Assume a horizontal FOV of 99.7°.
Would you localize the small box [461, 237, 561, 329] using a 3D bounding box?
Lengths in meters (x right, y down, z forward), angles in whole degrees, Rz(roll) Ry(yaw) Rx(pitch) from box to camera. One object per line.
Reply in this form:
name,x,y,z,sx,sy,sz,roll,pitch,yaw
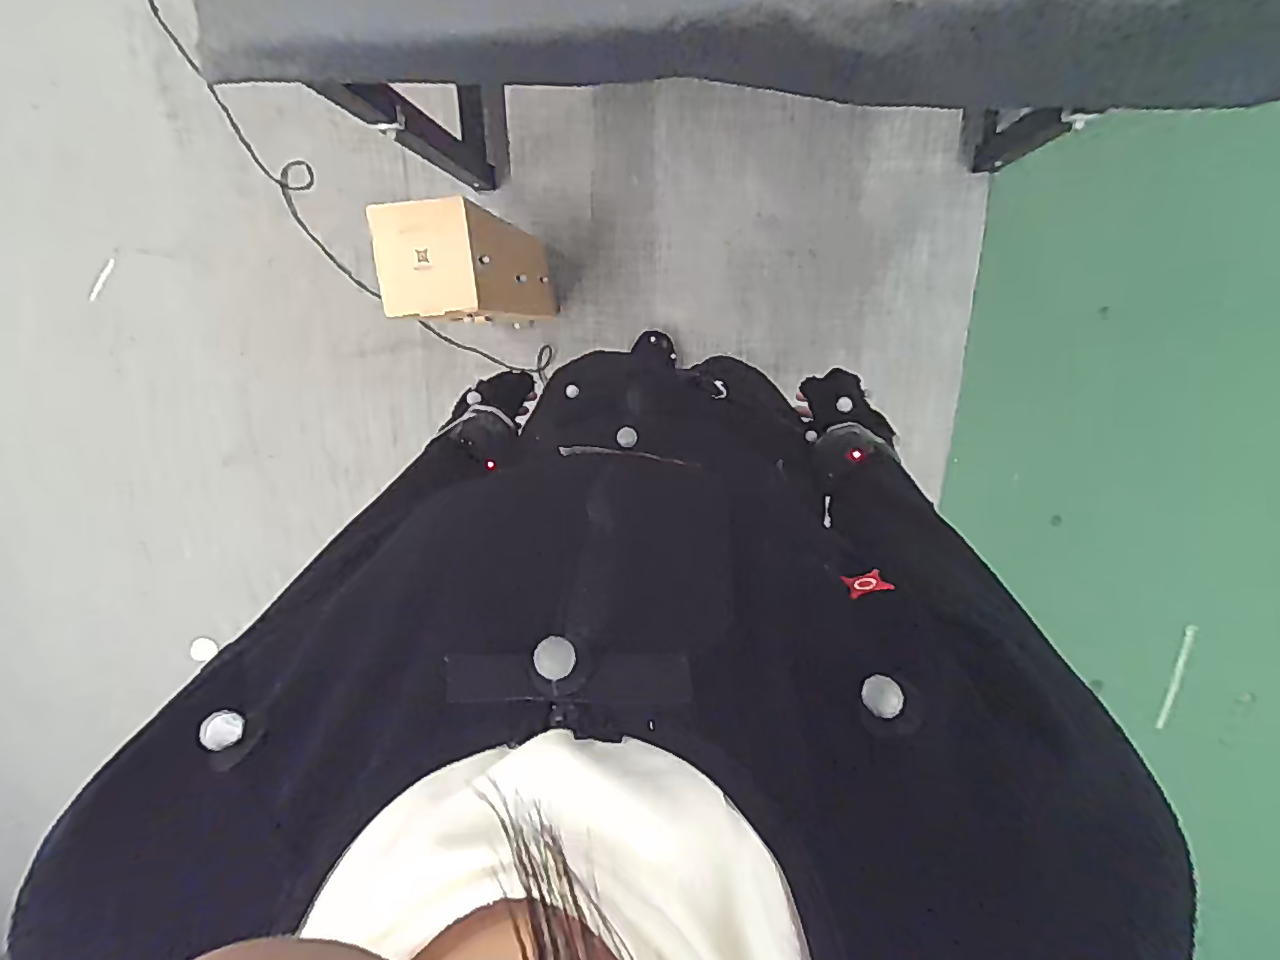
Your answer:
small box,-0.295,-0.455,1.274,0.168,0.176,0.179,-6,105,8
